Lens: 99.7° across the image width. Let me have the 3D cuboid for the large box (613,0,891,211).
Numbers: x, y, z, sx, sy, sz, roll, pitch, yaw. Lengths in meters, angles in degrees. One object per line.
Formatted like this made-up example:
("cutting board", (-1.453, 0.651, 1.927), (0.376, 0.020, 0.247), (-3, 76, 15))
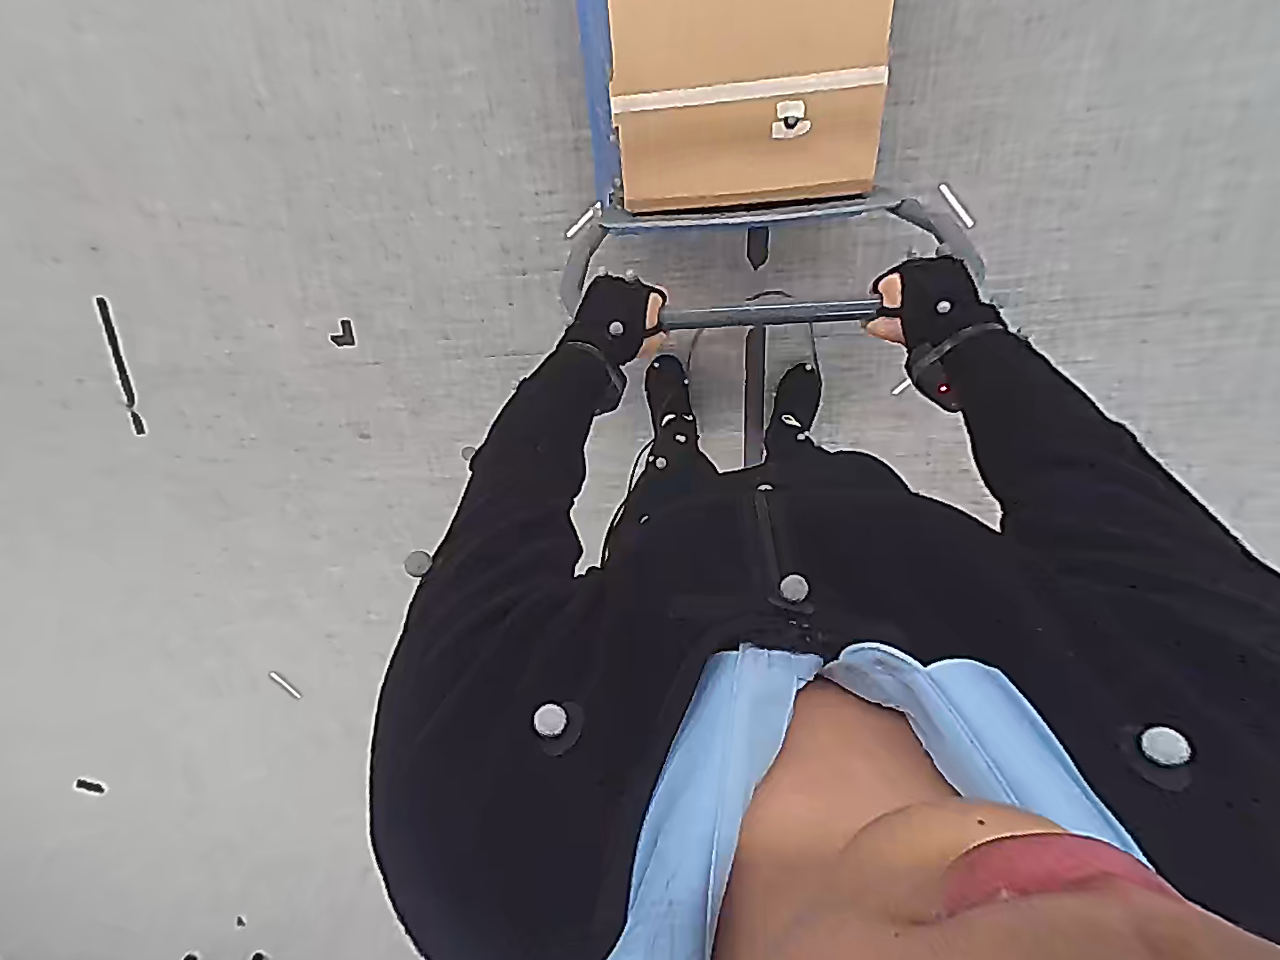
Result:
("large box", (0.179, -0.680, 0.963), (0.408, 0.320, 0.320), (-2, 121, 6))
